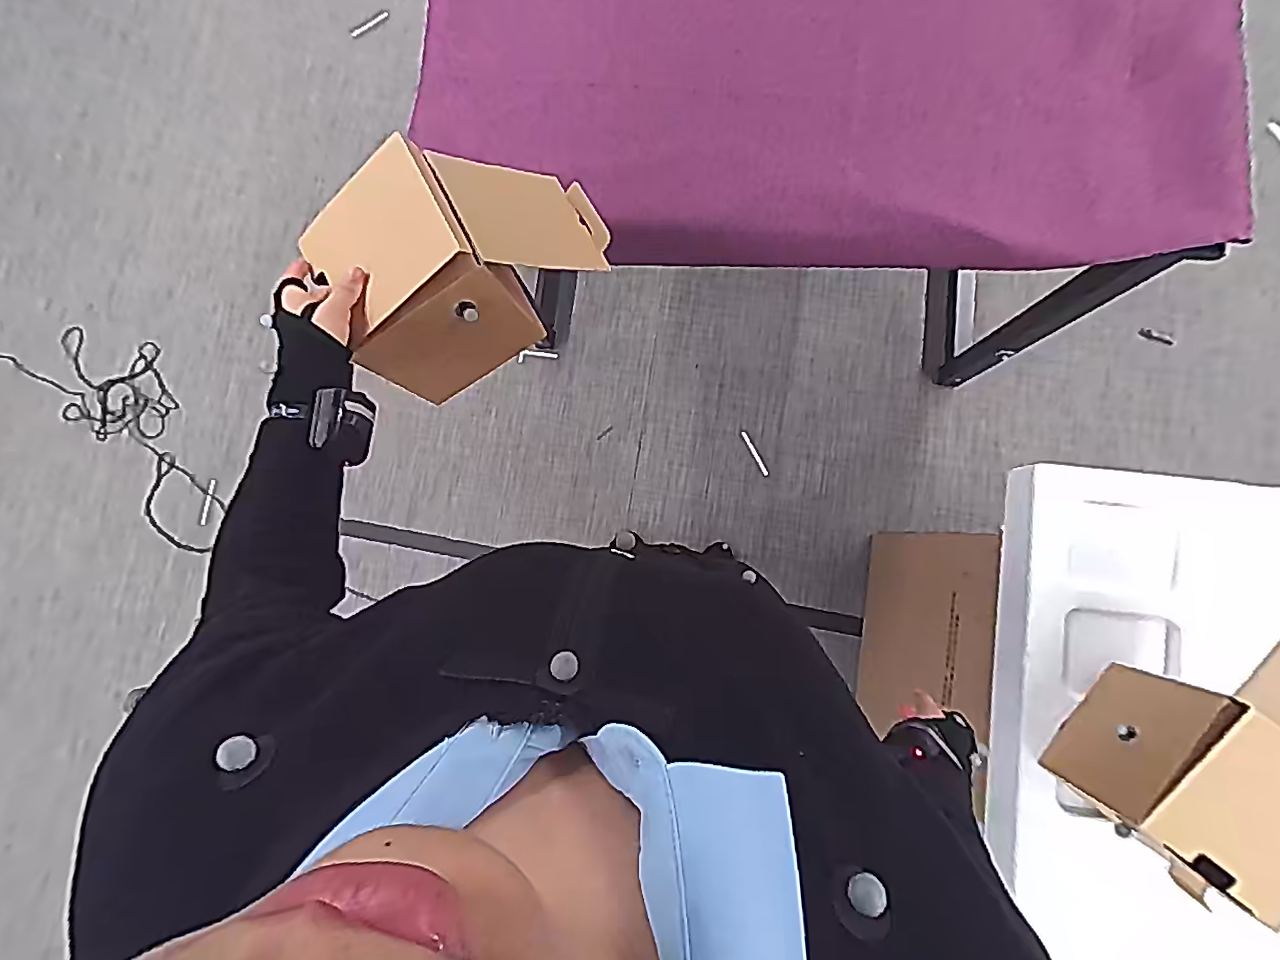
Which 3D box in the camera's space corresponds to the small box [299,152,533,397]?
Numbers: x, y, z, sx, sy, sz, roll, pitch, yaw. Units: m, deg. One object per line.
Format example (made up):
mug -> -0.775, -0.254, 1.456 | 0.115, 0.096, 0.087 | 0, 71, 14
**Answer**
small box -> -0.248, -0.228, 0.642 | 0.179, 0.176, 0.168 | -30, 74, 6
